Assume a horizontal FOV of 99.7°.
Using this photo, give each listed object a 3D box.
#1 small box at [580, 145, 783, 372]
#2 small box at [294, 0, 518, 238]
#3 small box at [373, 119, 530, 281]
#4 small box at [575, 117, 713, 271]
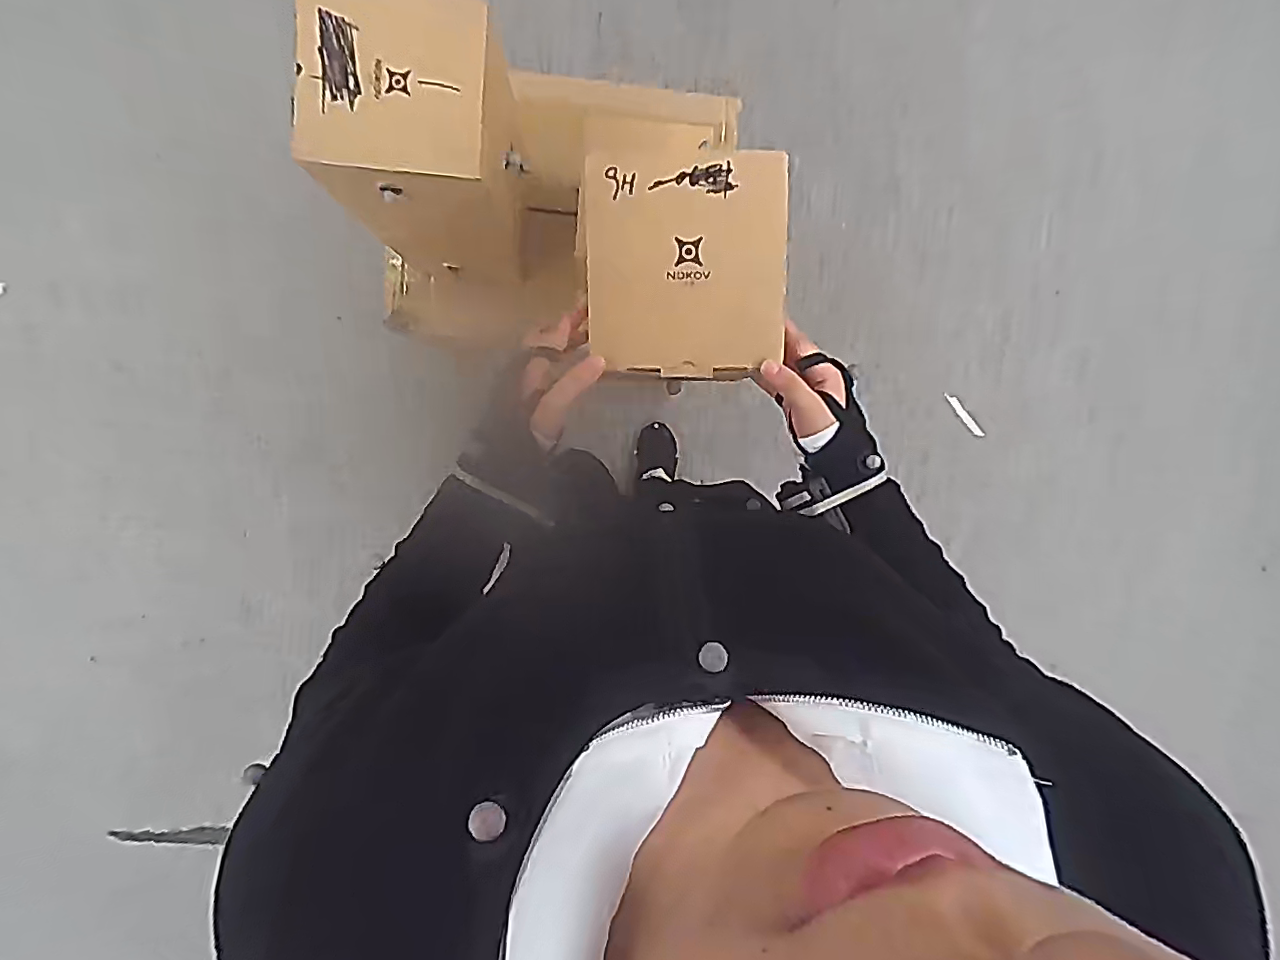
[{"bbox_3d":[0.032,-0.195,0.524,0.168,0.176,0.179,-2,99,-2],"label":"small box"},{"bbox_3d":[-0.239,-0.381,0.589,0.179,0.176,0.168,4,94,-4],"label":"small box"},{"bbox_3d":[-0.250,-0.395,0.753,0.168,0.176,0.179,4,95,-3],"label":"small box"},{"bbox_3d":[0.002,-0.369,0.765,0.168,0.176,0.179,4,94,-1],"label":"small box"}]
